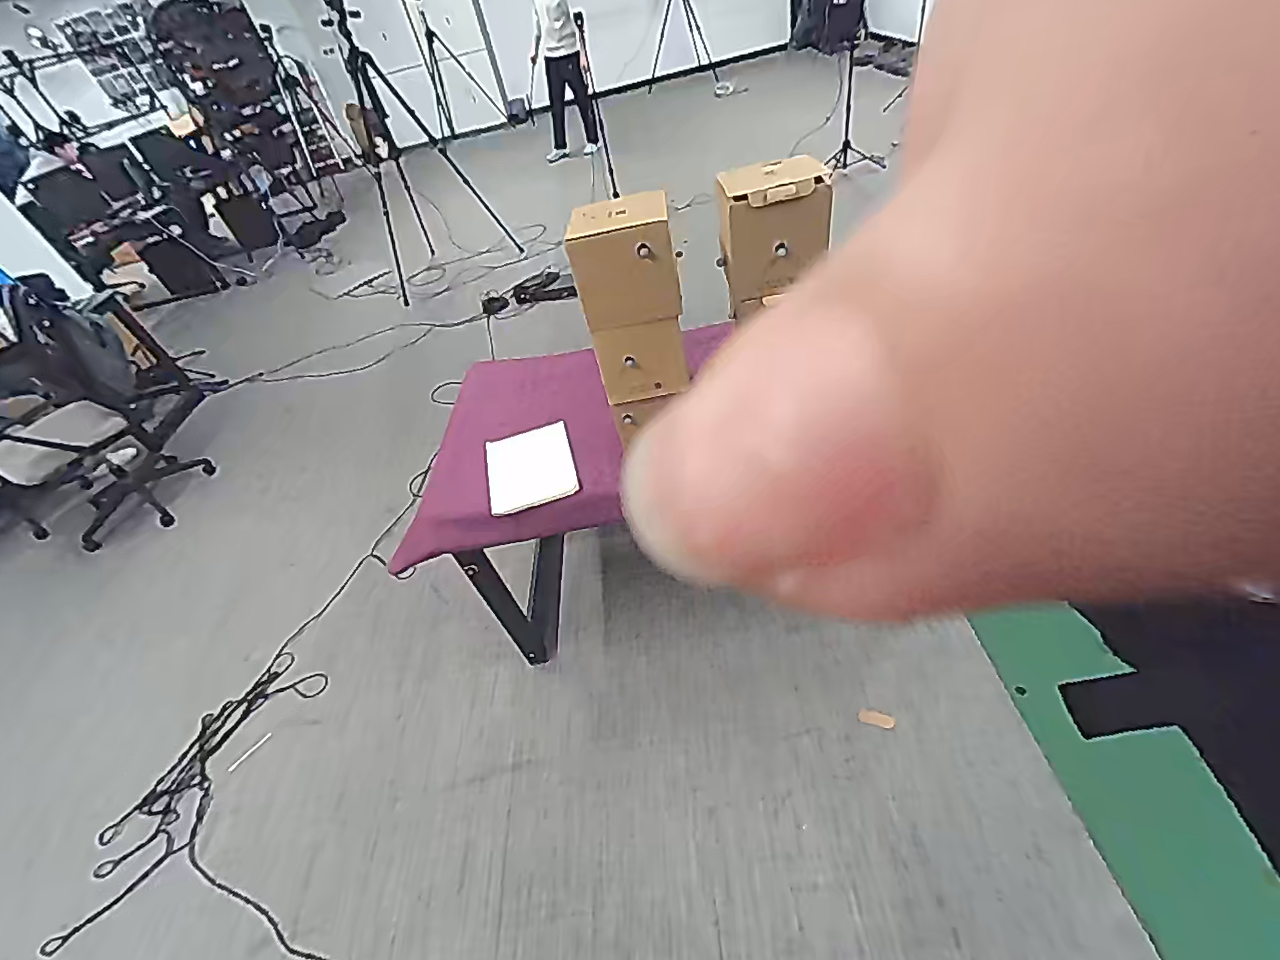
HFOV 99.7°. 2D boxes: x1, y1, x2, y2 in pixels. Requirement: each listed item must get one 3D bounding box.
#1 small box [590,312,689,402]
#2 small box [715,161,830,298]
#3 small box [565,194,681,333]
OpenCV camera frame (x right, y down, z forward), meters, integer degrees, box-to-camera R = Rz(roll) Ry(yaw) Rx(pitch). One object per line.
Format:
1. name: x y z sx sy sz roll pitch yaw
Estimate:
1. small box: 0.002 -0.273 1.095 0.168 0.176 0.179 -10 42 6
2. small box: 0.231 -0.437 0.961 0.168 0.176 0.179 -8 43 6
3. small box: -0.021 -0.388 0.979 0.179 0.176 0.168 -8 41 8
